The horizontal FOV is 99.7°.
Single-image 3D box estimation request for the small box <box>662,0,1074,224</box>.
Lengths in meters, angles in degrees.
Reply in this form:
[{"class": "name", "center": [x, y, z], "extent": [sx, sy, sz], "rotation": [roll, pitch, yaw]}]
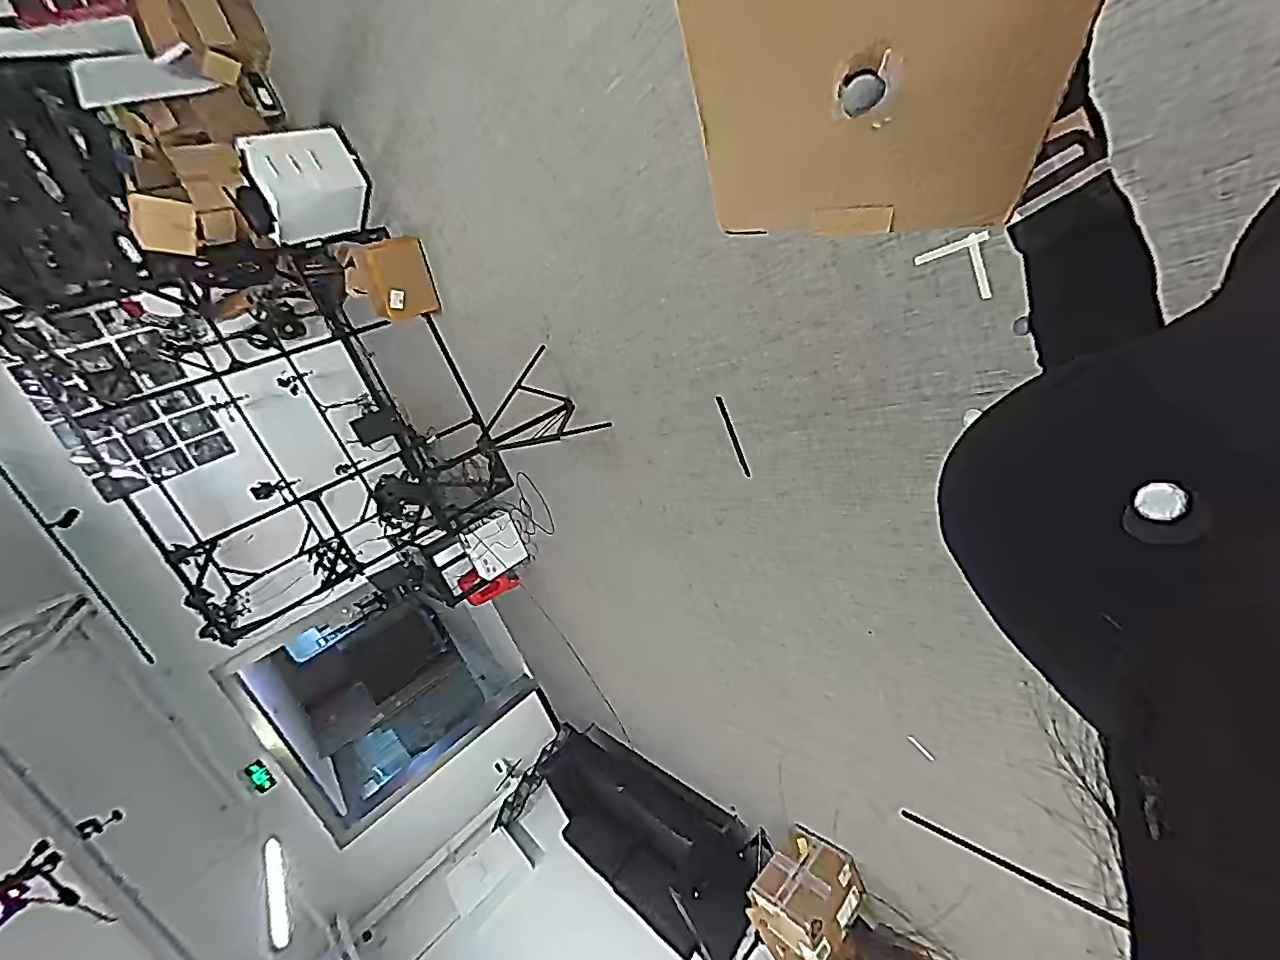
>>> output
[{"class": "small box", "center": [0.113, -0.260, 0.267], "extent": [0.168, 0.179, 0.176], "rotation": [9, 161, 21]}]
